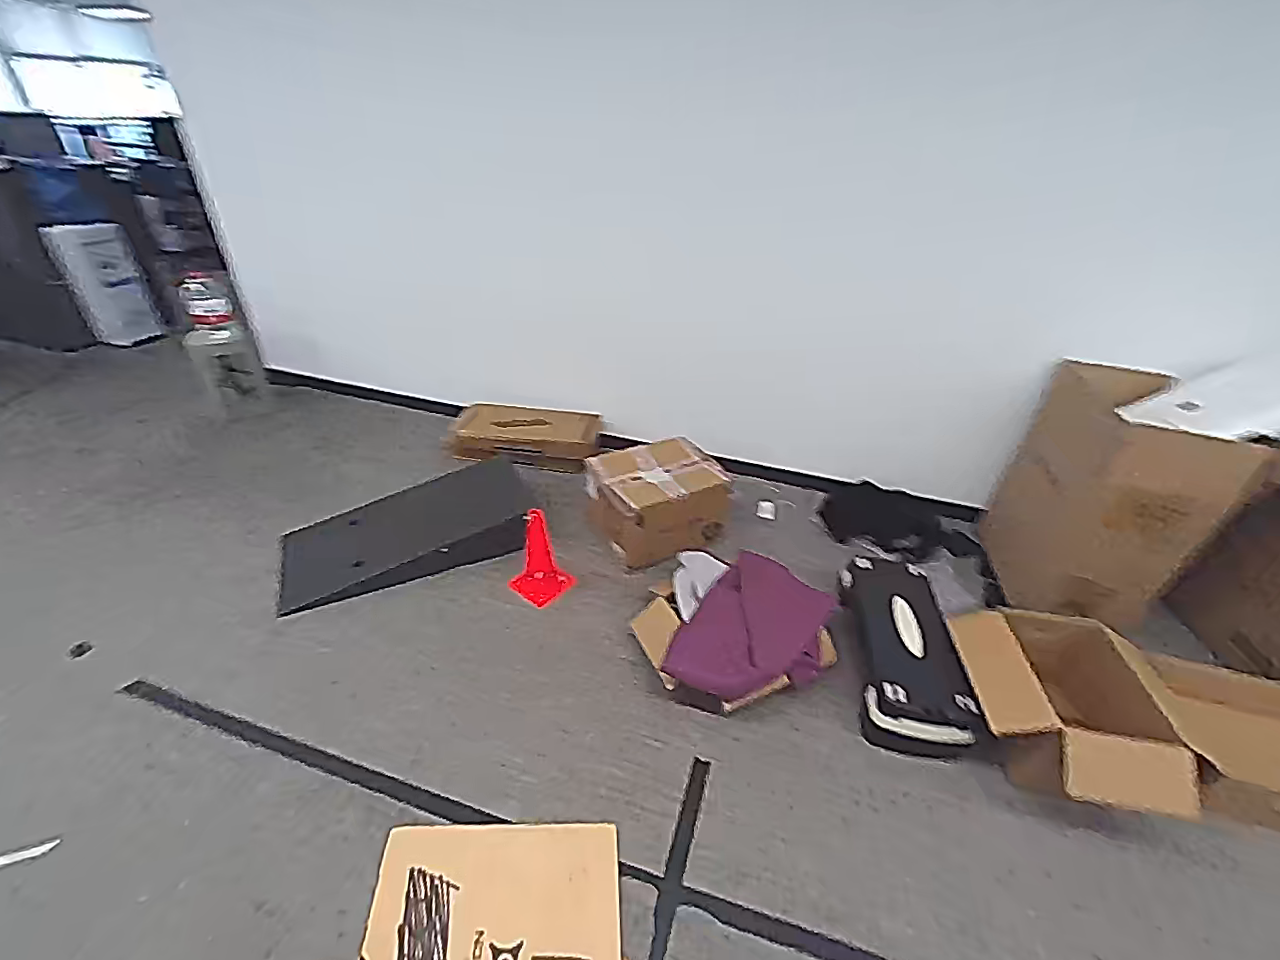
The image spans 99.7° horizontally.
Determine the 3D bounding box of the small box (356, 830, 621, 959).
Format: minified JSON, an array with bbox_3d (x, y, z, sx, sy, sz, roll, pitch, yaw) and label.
[{"bbox_3d":[-0.108,0.386,0.399,0.179,0.176,0.168,3,37,-9],"label":"small box"}]
